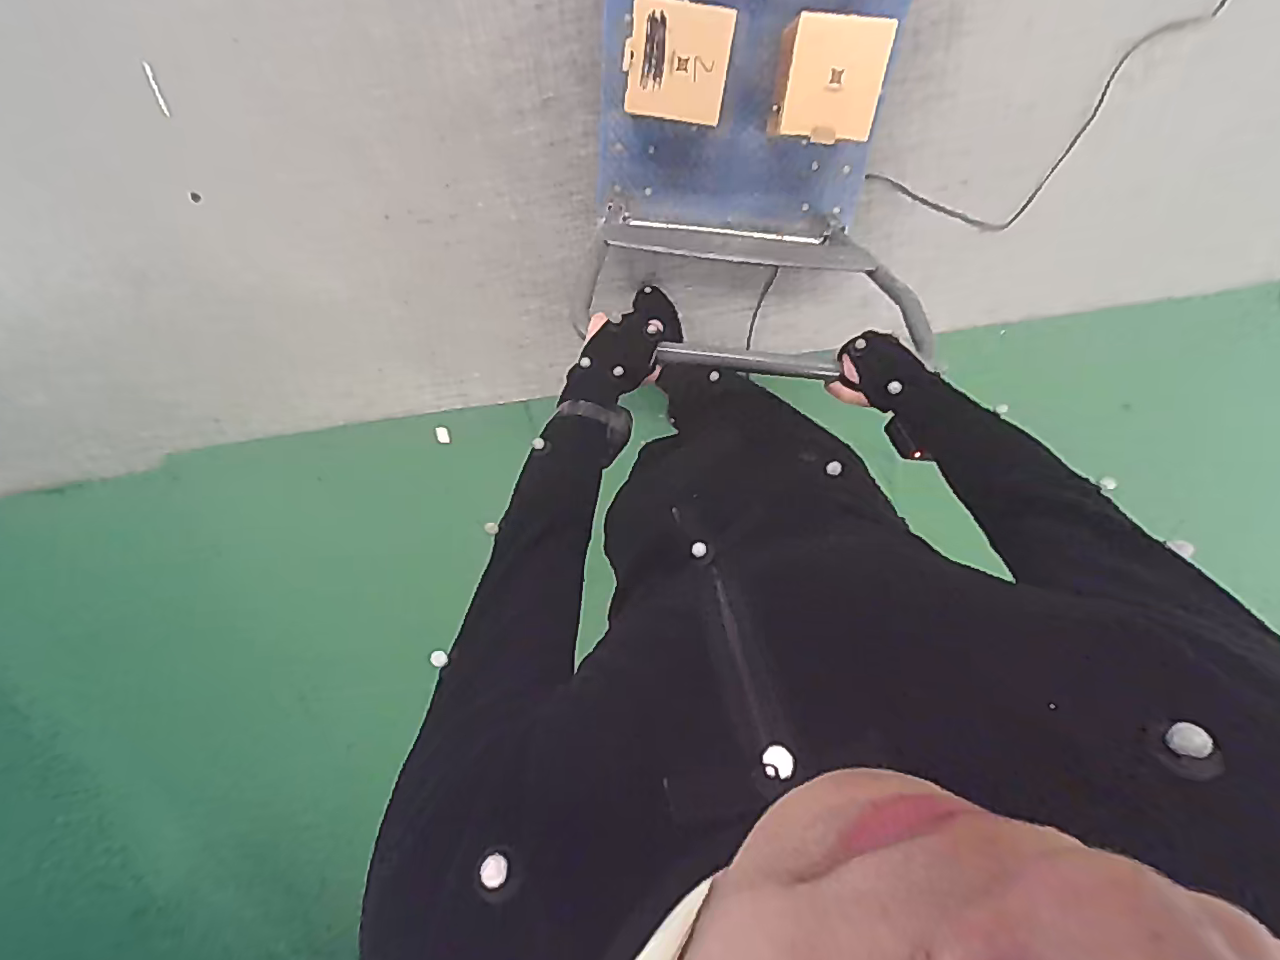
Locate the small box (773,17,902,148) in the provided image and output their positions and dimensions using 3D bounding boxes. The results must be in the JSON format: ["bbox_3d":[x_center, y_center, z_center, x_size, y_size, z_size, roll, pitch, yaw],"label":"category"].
[{"bbox_3d":[0.355,-0.733,1.012,0.168,0.176,0.179,6,124,0],"label":"small box"}]
